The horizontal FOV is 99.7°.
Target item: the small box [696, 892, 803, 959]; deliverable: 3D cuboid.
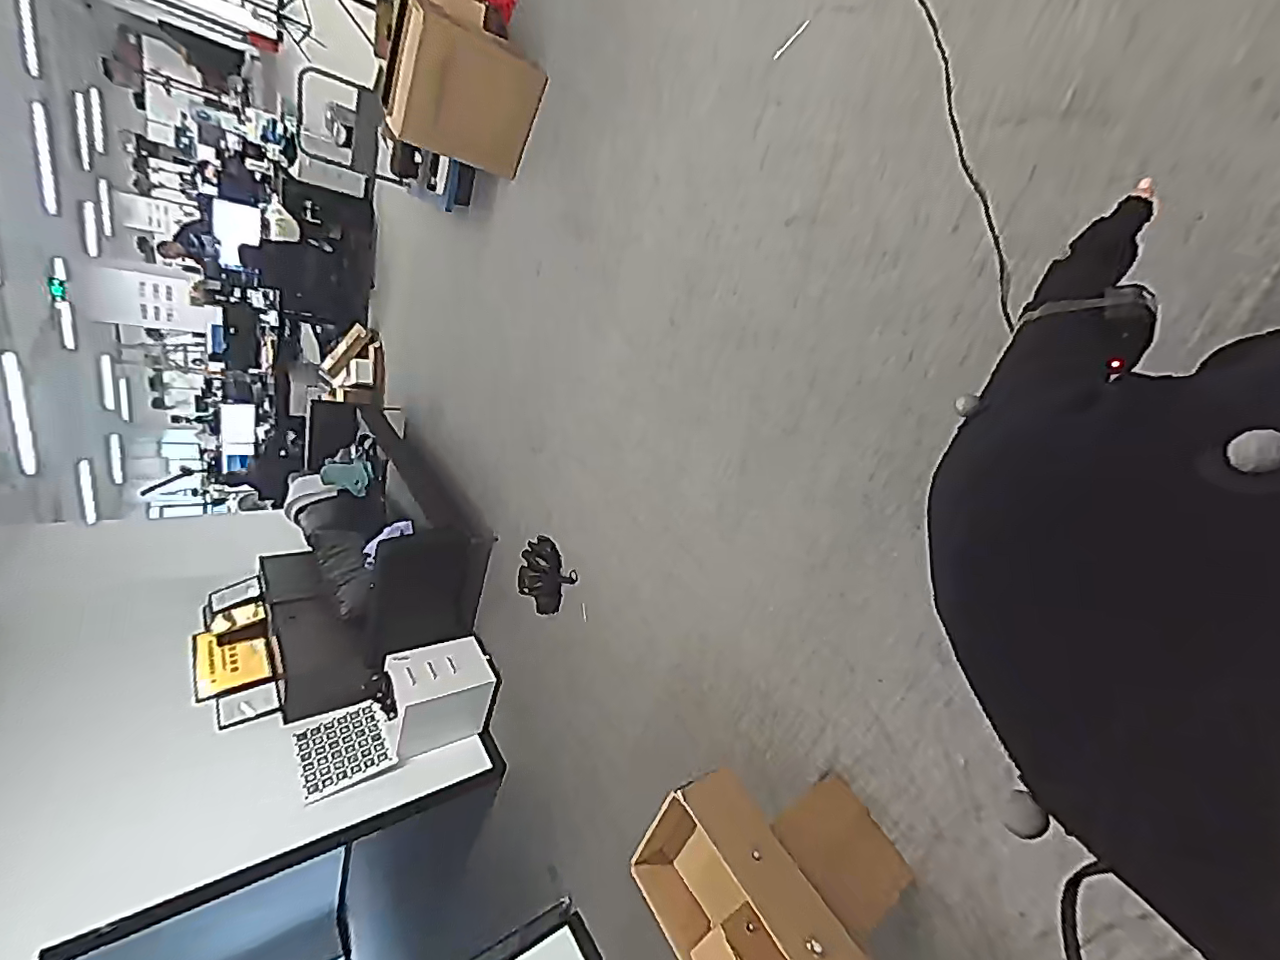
[{"bbox_3d":[0.275,1.169,1.331,0.168,0.176,0.179,48,129,40],"label":"small box"}]
